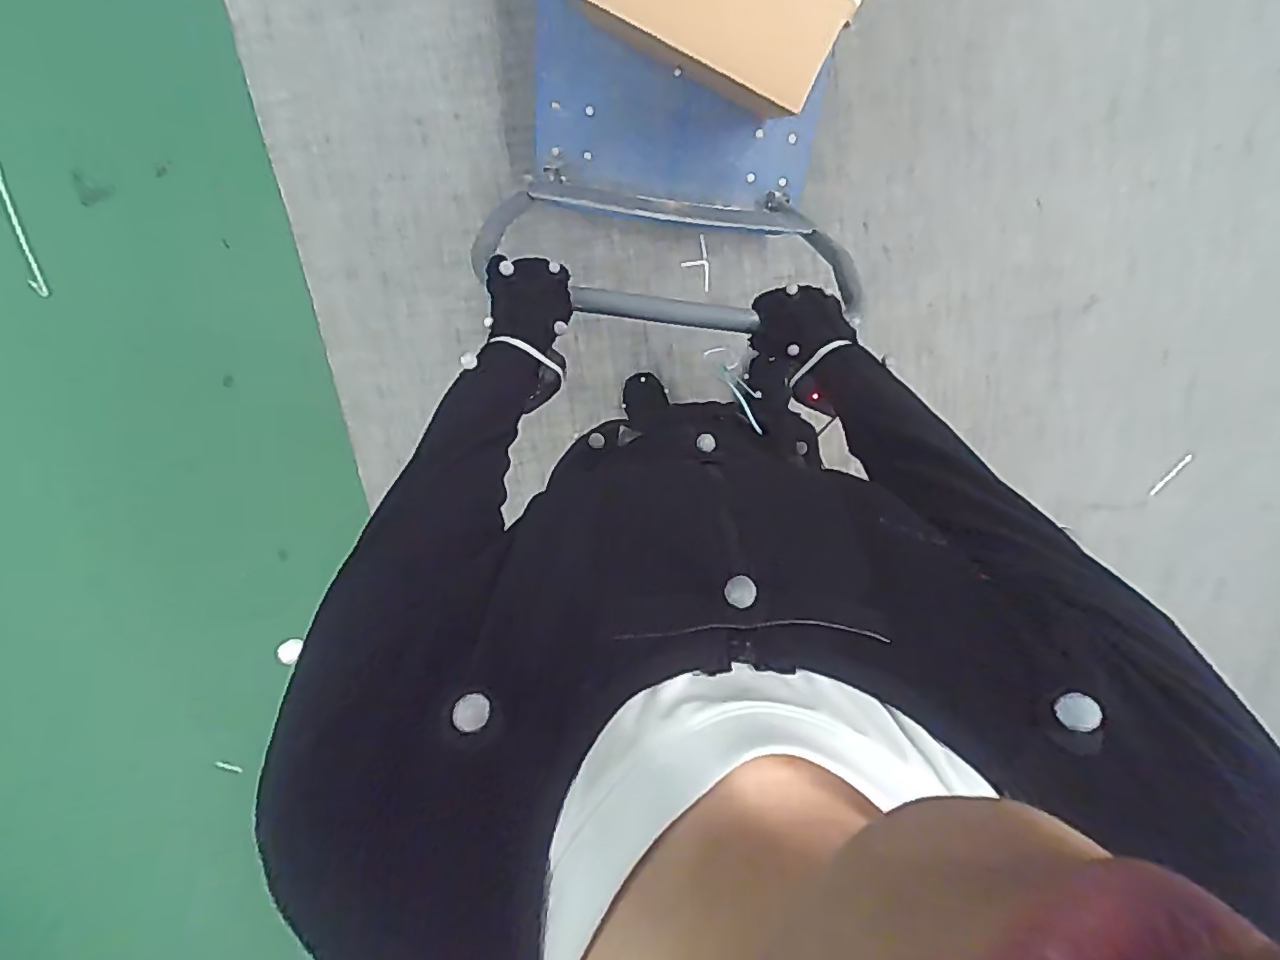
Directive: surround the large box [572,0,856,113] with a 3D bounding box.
[{"bbox_3d":[0.139,-0.838,0.861,0.408,0.320,0.320,21,121,-9],"label":"large box"}]
